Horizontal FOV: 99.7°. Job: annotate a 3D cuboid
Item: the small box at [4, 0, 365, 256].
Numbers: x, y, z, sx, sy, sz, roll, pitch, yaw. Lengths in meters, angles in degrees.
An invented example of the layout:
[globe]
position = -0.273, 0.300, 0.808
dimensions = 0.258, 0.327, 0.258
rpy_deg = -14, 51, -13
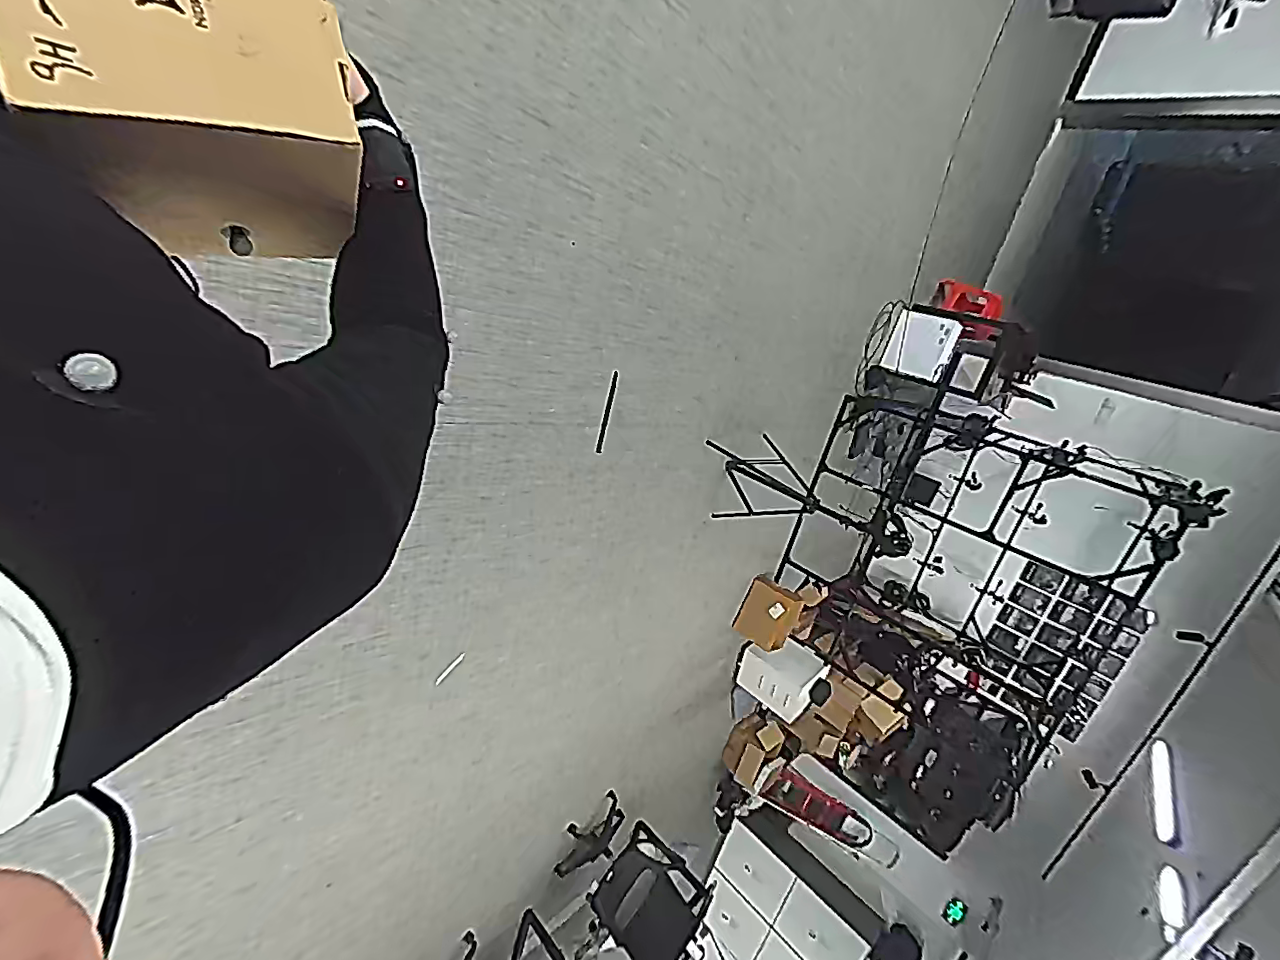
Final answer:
[small box]
position = -0.333, -0.291, 0.418
dimensions = 0.179, 0.176, 0.168
rpy_deg = -13, 89, -32
